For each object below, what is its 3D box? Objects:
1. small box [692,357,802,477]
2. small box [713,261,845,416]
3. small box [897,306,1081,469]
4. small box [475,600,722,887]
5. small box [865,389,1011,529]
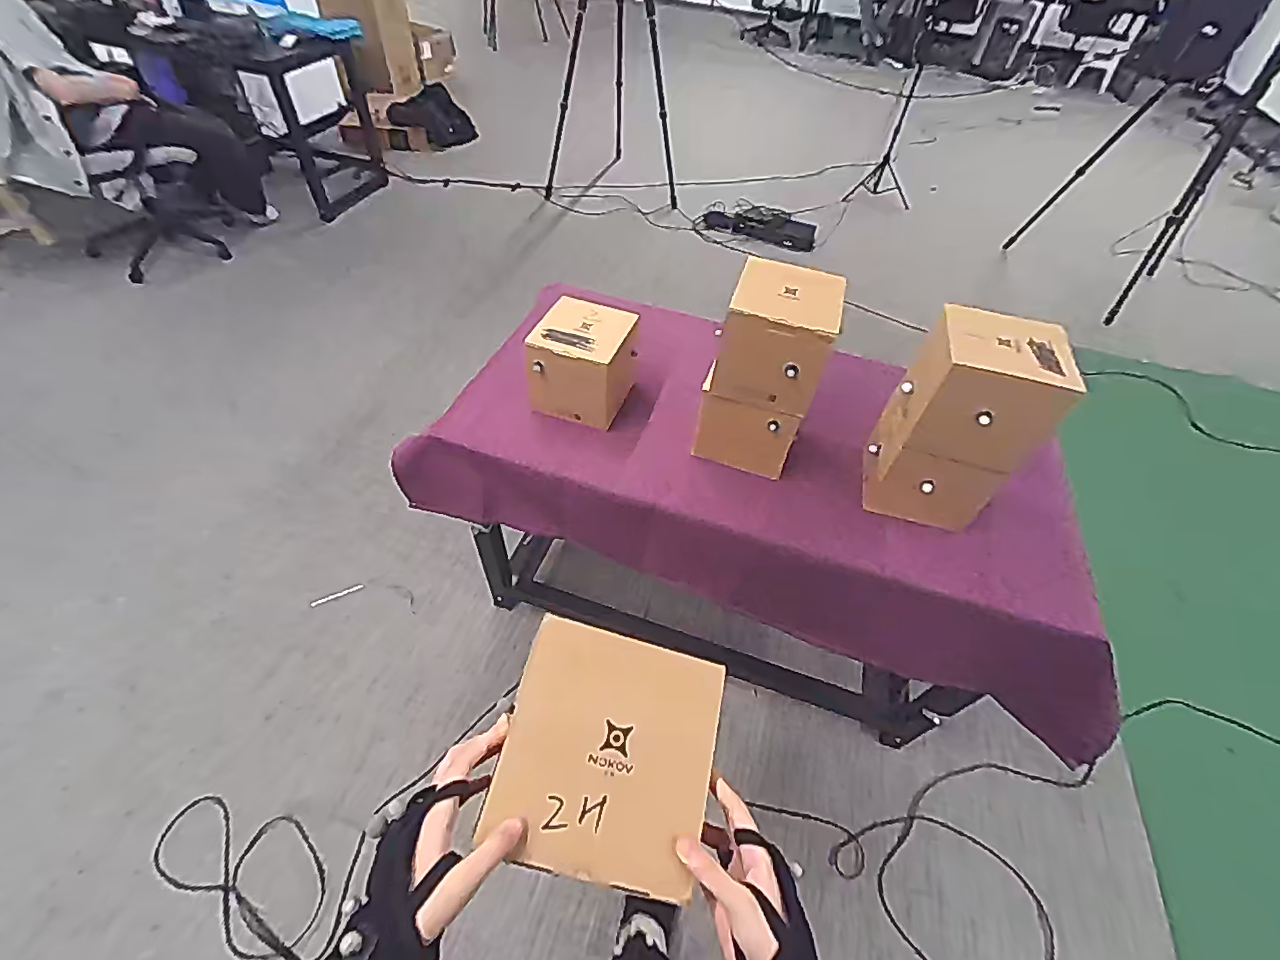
[{"bbox_3d":[0.209,-0.130,1.030,0.179,0.176,0.168,18,50,9],"label":"small box"},{"bbox_3d":[0.227,-0.234,0.906,0.168,0.176,0.179,17,49,8],"label":"small box"},{"bbox_3d":[0.525,-0.140,0.841,0.179,0.176,0.168,15,49,9],"label":"small box"},{"bbox_3d":[-0.042,0.236,0.501,0.168,0.176,0.179,18,61,-5],"label":"small box"},{"bbox_3d":[0.516,-0.035,0.968,0.179,0.176,0.168,14,50,8],"label":"small box"}]
